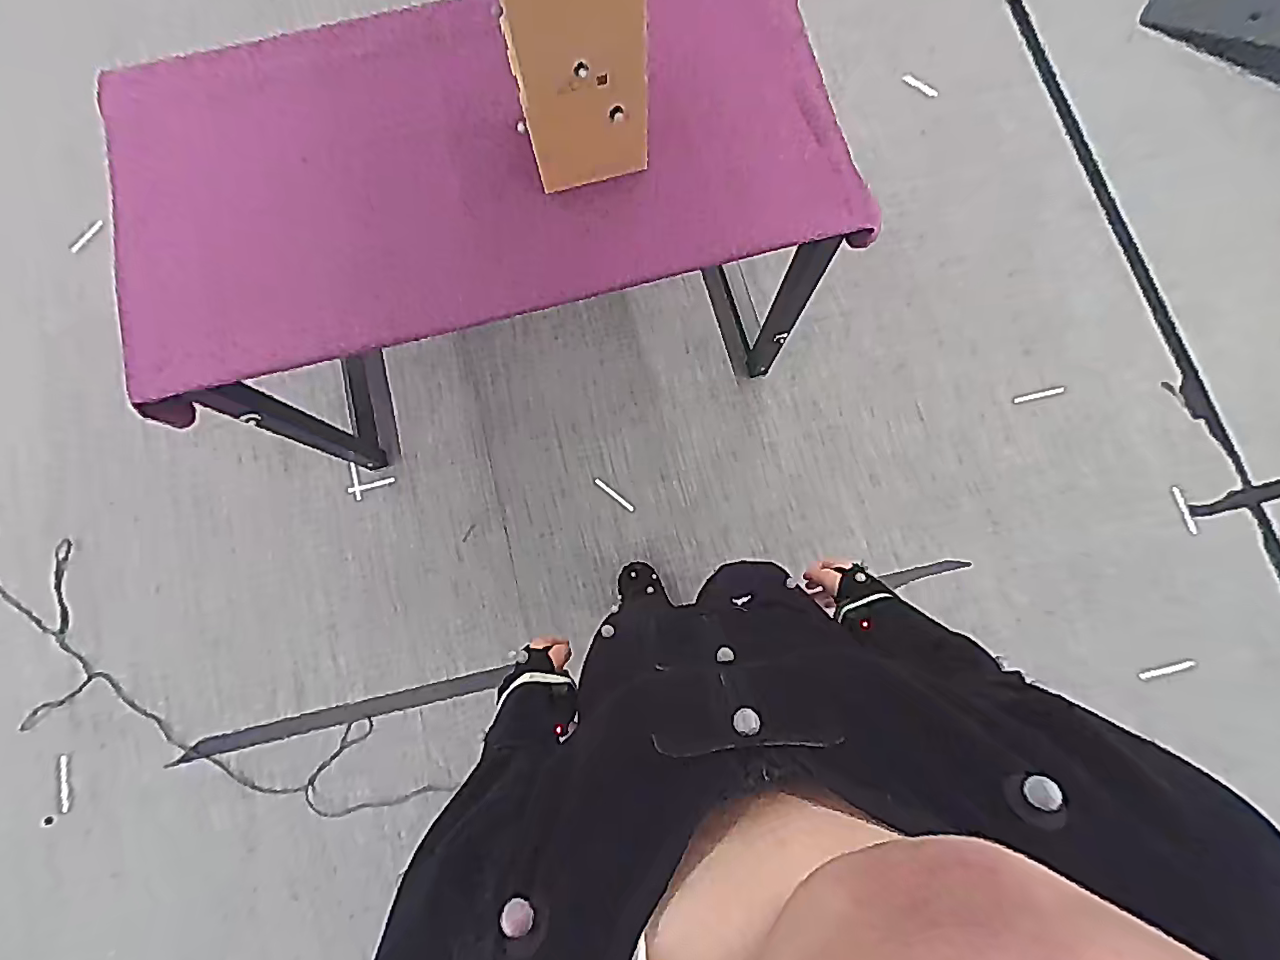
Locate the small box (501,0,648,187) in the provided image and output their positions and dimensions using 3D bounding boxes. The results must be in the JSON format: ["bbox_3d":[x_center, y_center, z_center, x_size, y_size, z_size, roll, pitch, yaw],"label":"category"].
[{"bbox_3d":[-0.092,-0.589,0.827,0.179,0.176,0.168,-15,79,-1],"label":"small box"}]
